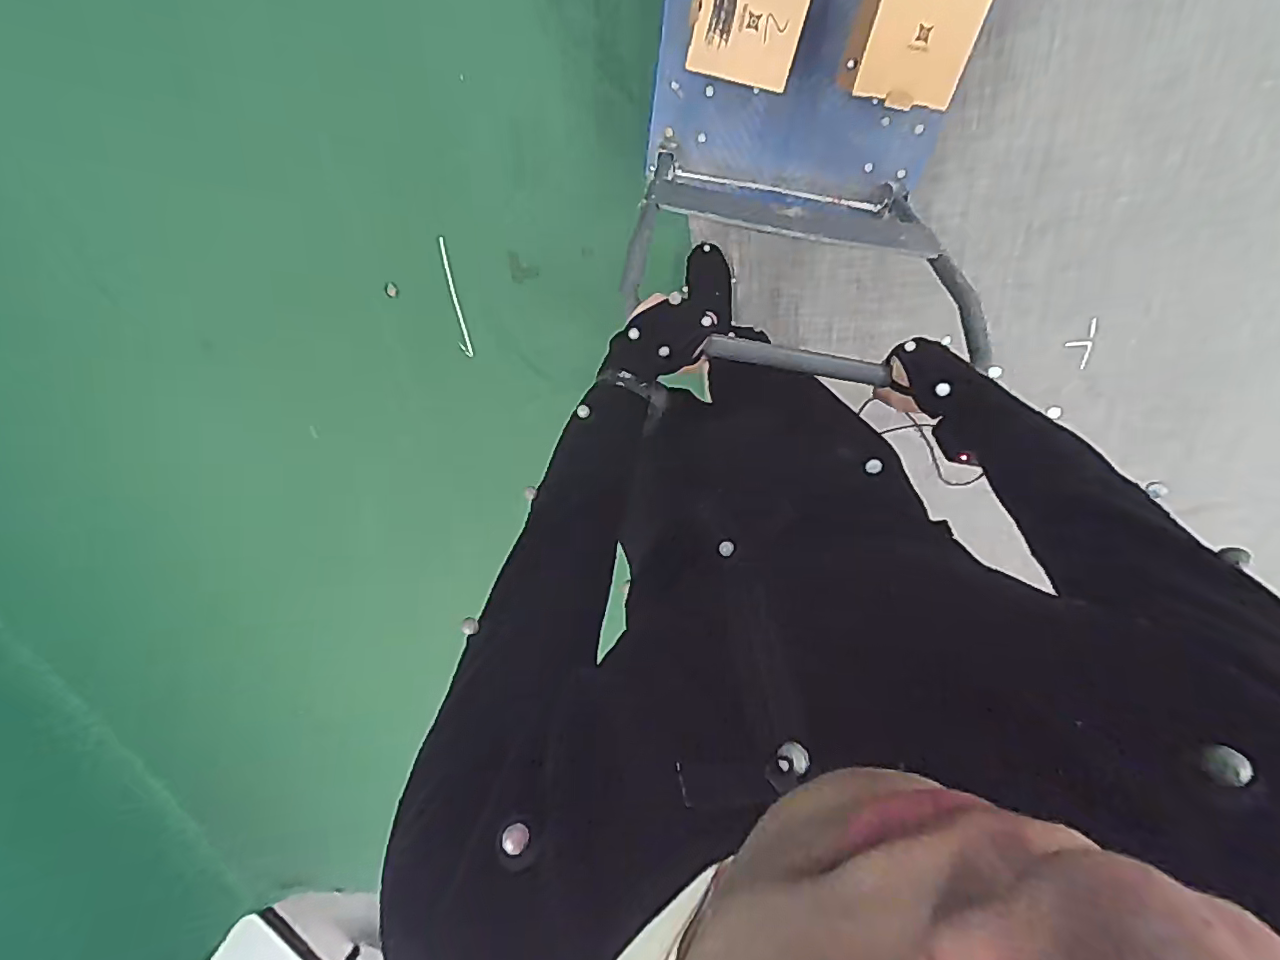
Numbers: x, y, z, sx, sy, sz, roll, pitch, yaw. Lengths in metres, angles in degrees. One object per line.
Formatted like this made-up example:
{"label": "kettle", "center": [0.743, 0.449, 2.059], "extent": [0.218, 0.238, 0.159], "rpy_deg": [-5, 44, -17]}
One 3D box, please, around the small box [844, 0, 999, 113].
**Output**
{"label": "small box", "center": [0.464, -0.751, 0.917], "extent": [0.168, 0.176, 0.179], "rpy_deg": [11, 131, 0]}
